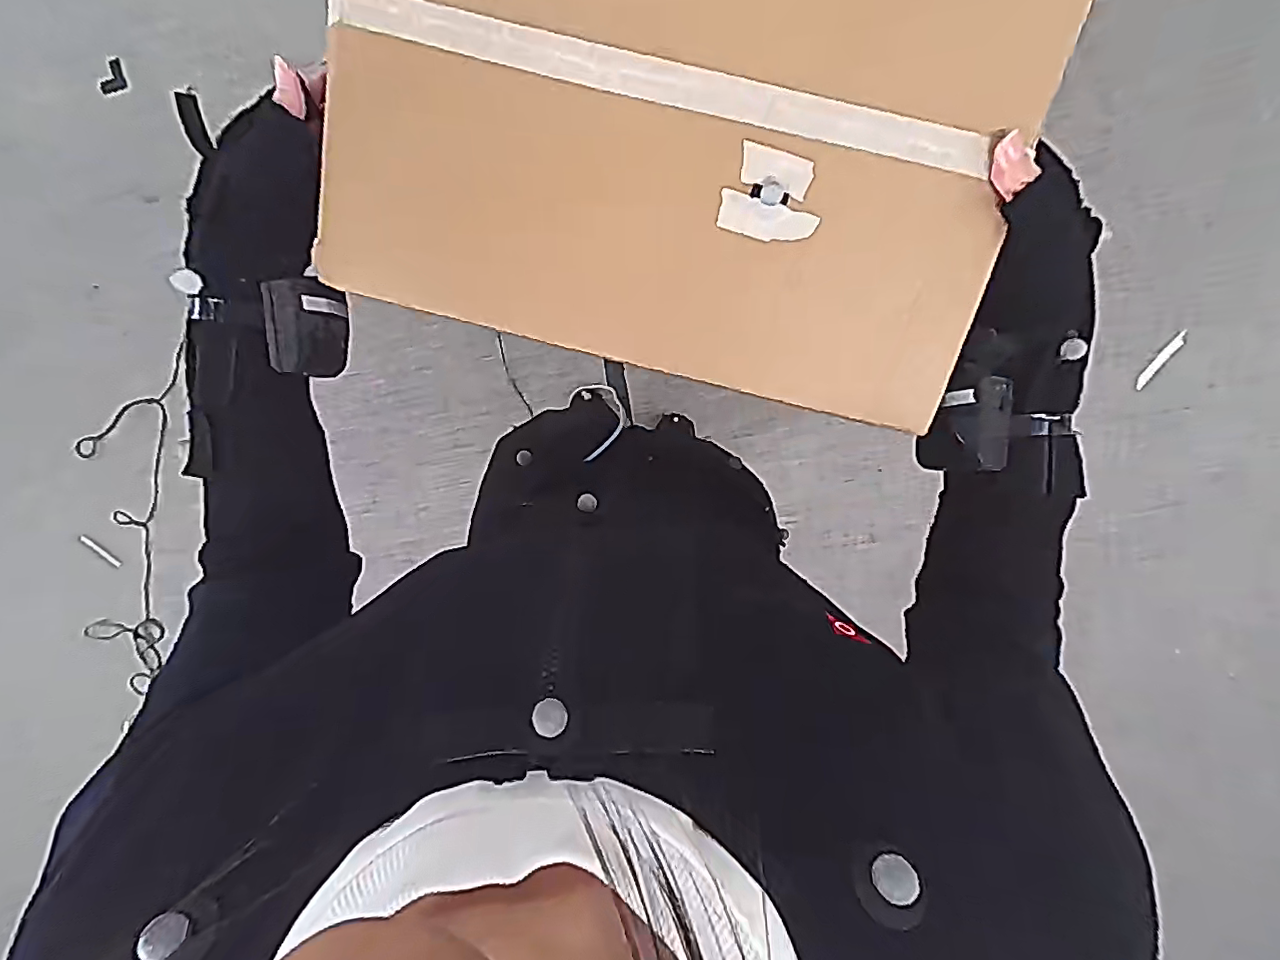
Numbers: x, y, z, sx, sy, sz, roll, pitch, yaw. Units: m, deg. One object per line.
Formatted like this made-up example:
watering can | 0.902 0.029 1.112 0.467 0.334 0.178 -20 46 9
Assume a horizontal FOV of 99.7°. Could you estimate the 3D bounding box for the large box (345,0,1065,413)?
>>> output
large box | 0.032 -0.264 0.467 0.408 0.320 0.320 13 106 0
